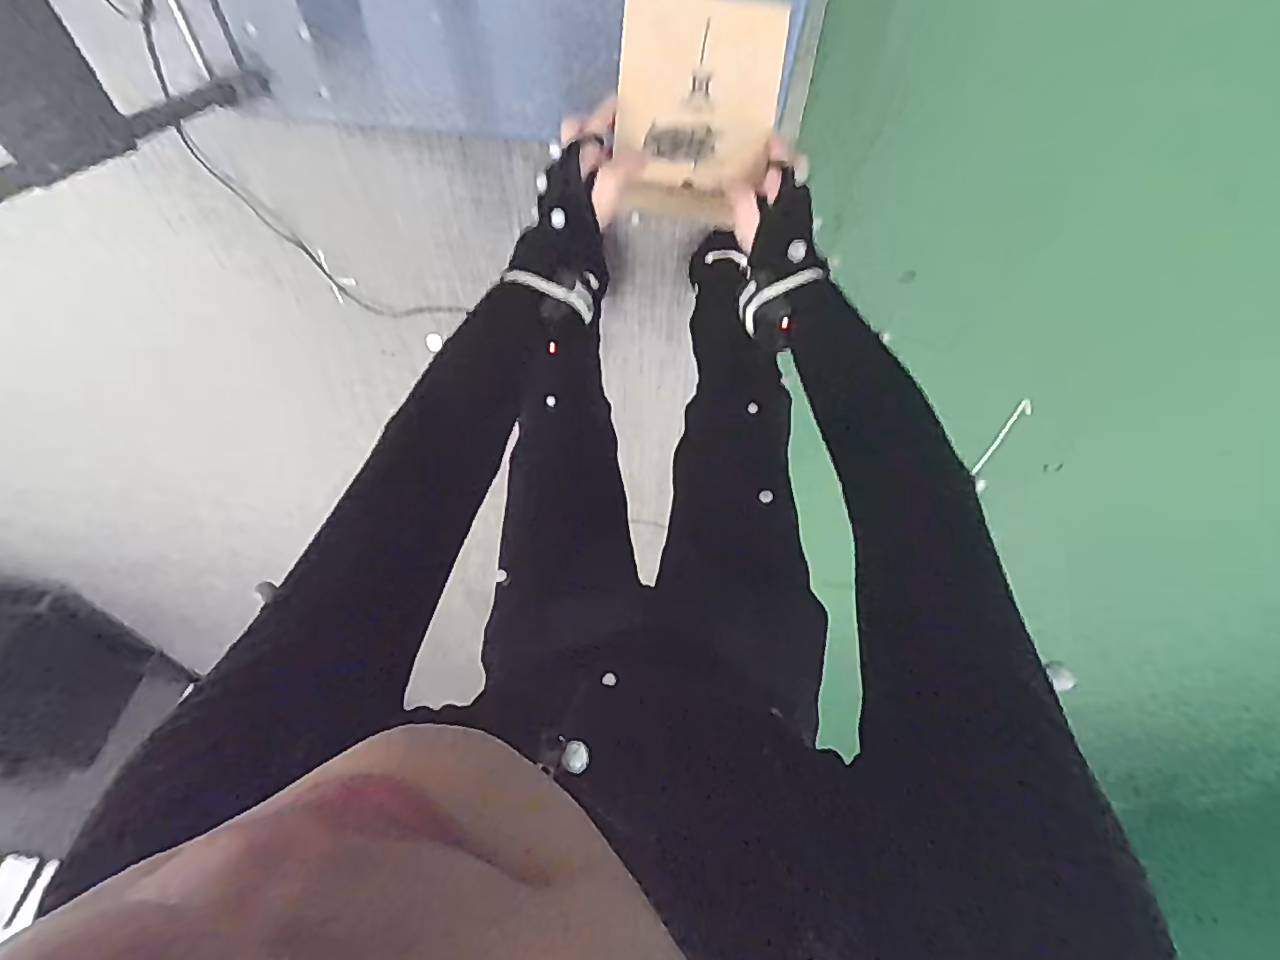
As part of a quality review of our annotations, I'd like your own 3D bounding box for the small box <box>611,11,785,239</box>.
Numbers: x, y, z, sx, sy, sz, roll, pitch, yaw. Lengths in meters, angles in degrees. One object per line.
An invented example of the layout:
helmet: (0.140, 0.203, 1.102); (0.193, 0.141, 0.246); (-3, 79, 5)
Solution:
small box: (0.056, -0.402, 0.649); (0.168, 0.176, 0.179); (5, 103, -5)
